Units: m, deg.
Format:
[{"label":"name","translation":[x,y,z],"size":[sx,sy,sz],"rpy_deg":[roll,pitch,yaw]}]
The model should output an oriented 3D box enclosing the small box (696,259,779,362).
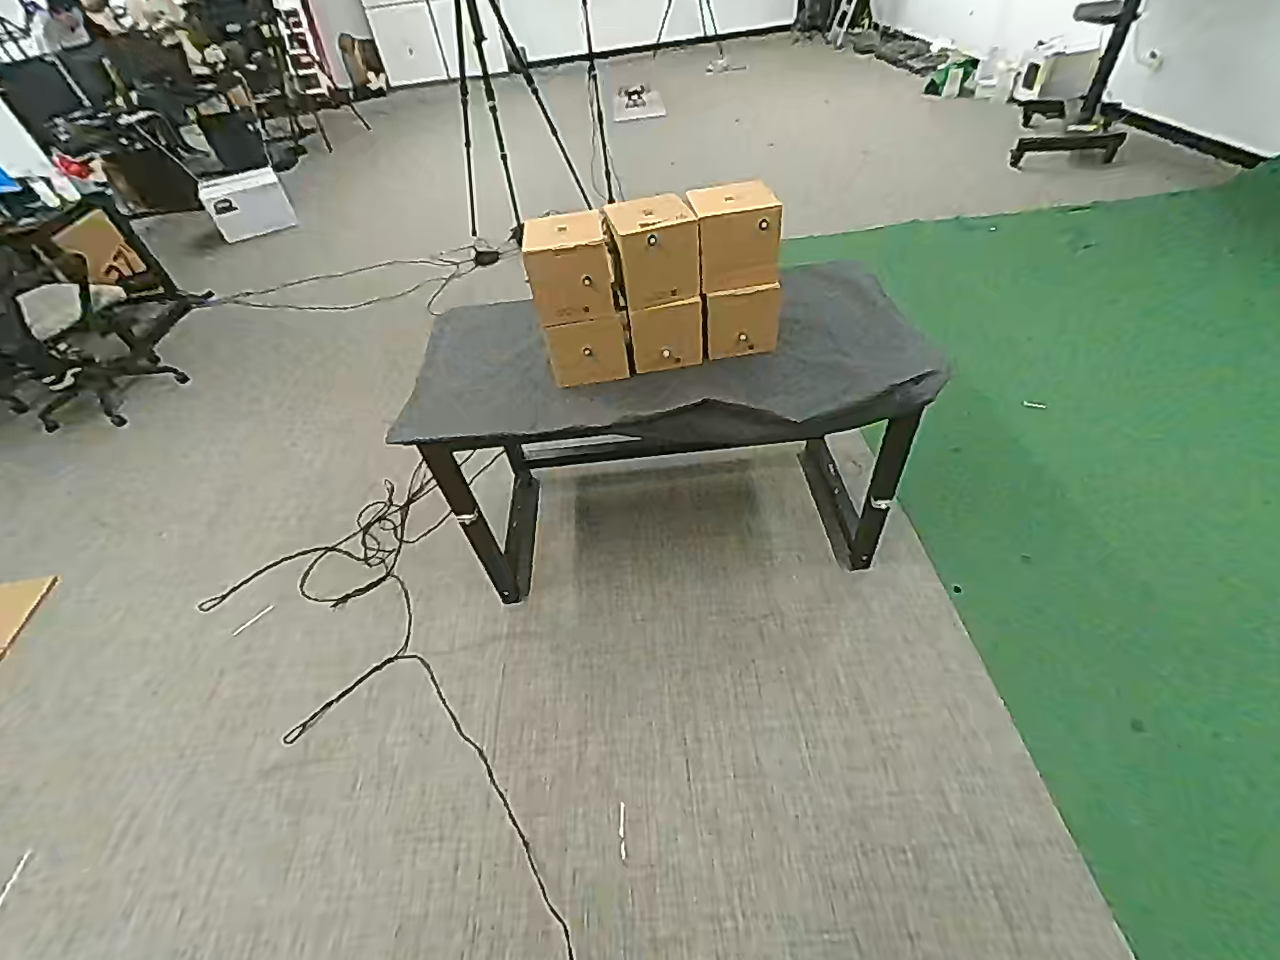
[{"label":"small box","translation":[0.231,-0.412,1.317],"size":[0.168,0.176,0.179],"rpy_deg":[-9,45,1]}]
